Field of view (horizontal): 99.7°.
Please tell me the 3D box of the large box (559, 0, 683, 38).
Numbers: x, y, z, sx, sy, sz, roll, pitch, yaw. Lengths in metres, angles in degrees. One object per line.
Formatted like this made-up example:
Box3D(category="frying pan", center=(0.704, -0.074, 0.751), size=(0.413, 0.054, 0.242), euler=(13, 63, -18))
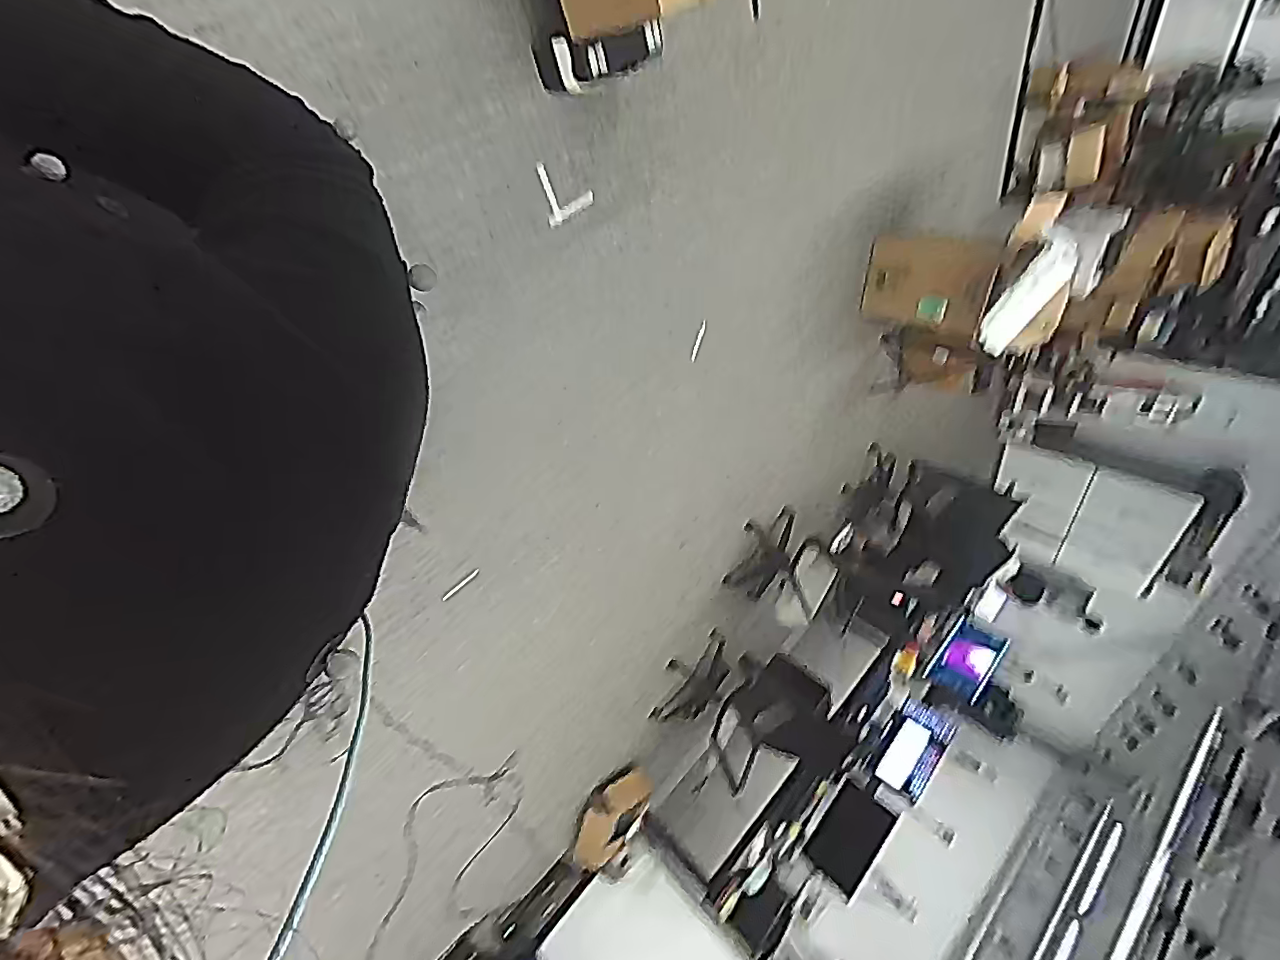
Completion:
Box3D(category="large box", center=(-0.020, -1.195, 1.067), size=(0.320, 0.320, 0.408), euler=(-44, 136, -20))
